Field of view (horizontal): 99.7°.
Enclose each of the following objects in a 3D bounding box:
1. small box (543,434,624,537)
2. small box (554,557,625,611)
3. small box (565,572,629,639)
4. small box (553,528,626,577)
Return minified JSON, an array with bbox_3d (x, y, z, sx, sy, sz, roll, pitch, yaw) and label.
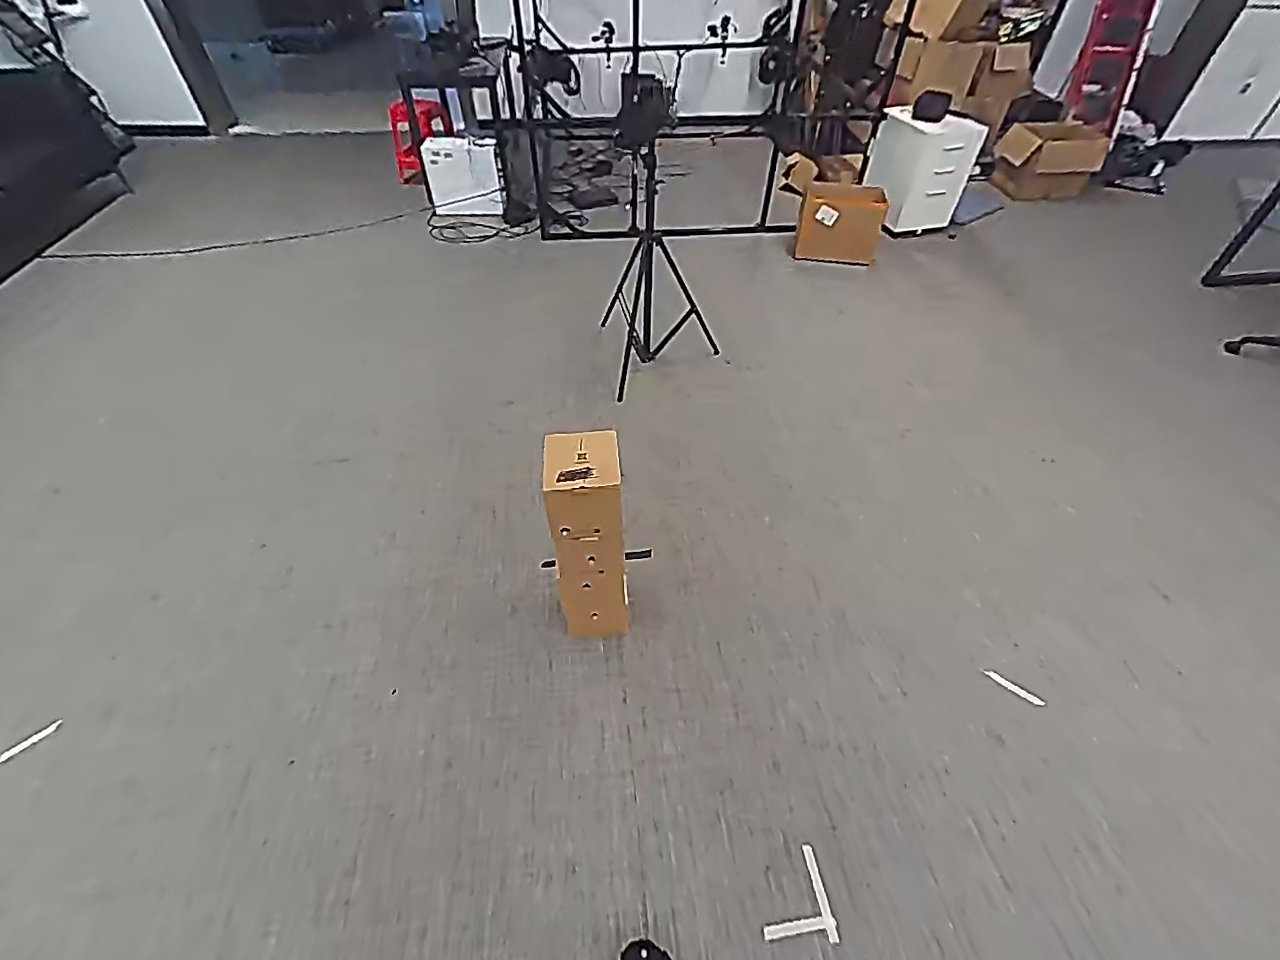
[{"bbox_3d":[-0.125,0.018,1.230,0.168,0.176,0.179,-4,47,-4],"label":"small box"},{"bbox_3d":[-0.132,0.245,1.468,0.179,0.176,0.168,-3,48,-3],"label":"small box"},{"bbox_3d":[-0.127,0.353,1.591,0.179,0.176,0.168,-4,48,-4],"label":"small box"},{"bbox_3d":[-0.123,0.131,1.350,0.168,0.176,0.179,-3,48,-3],"label":"small box"}]
